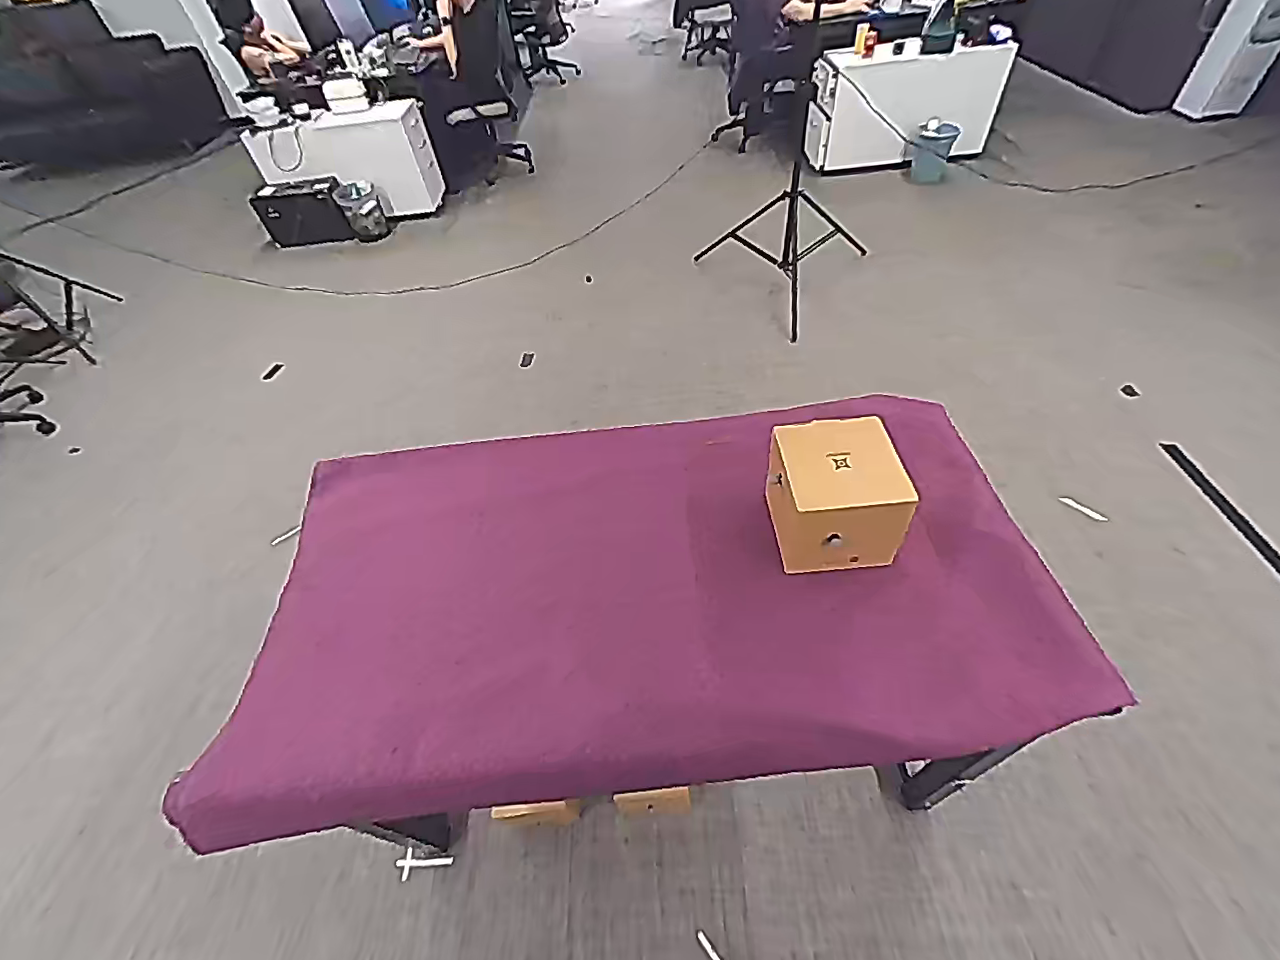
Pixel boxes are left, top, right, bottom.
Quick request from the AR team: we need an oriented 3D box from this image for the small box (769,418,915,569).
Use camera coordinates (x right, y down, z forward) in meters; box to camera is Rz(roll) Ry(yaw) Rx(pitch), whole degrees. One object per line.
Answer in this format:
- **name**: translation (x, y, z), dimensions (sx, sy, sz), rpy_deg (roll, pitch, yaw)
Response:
- **small box**: translation (0.304, 0.029, 0.855), dimensions (0.168, 0.176, 0.179), rpy_deg (-6, 47, 3)

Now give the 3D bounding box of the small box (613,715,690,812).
- **small box**: translation (0.030, 0.679, 1.289), dimensions (0.168, 0.176, 0.179), rpy_deg (-4, 48, 3)
